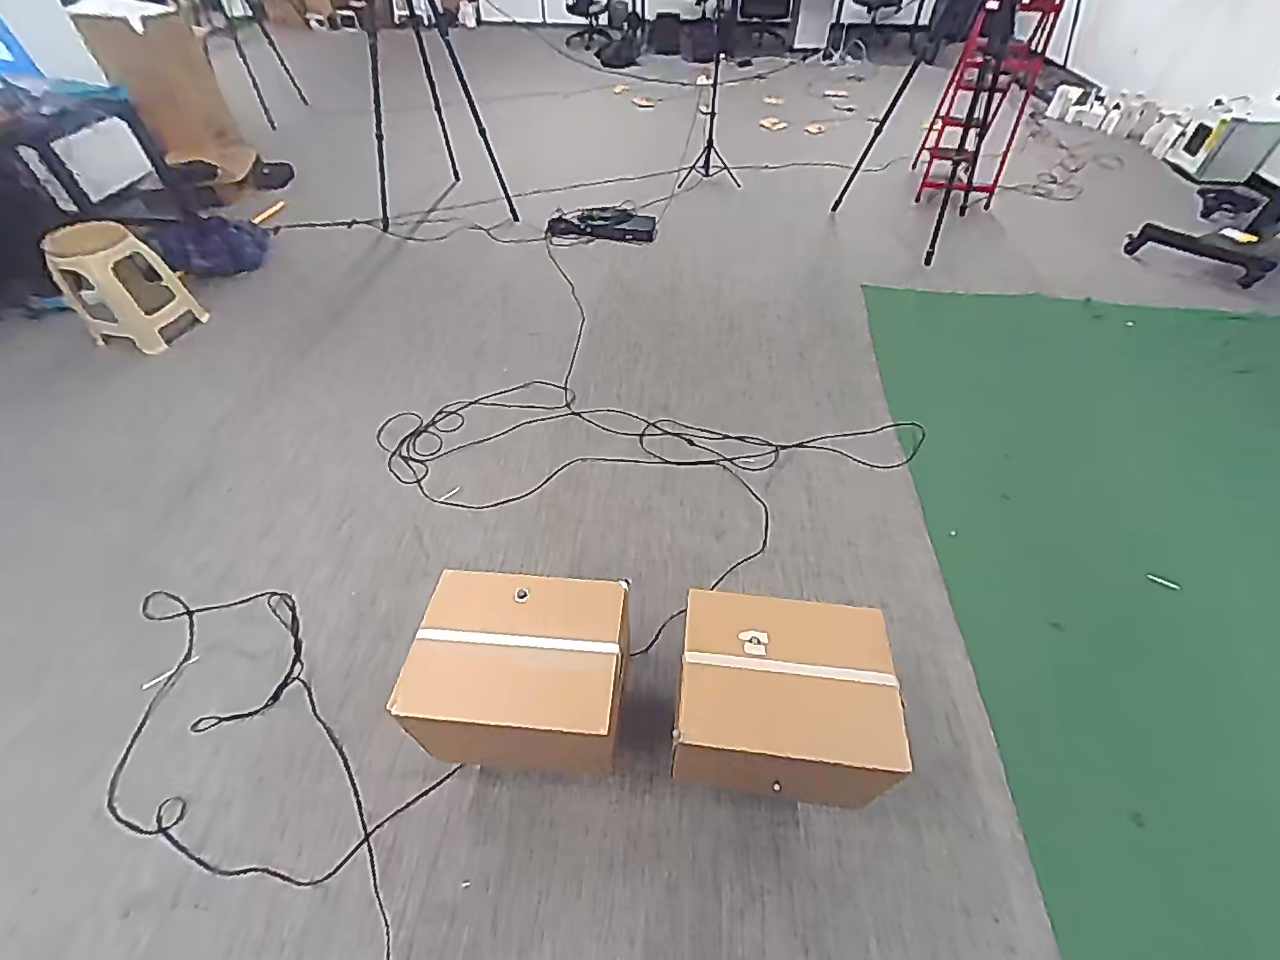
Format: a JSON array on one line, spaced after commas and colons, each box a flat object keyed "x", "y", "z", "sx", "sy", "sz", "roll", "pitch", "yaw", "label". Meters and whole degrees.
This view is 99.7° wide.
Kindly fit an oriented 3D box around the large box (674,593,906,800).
[{"x": 0.289, "y": 0.468, "z": 1.163, "sx": 0.408, "sy": 0.320, "sz": 0.320, "roll": 5, "pitch": 49, "yaw": 5, "label": "large box"}]
